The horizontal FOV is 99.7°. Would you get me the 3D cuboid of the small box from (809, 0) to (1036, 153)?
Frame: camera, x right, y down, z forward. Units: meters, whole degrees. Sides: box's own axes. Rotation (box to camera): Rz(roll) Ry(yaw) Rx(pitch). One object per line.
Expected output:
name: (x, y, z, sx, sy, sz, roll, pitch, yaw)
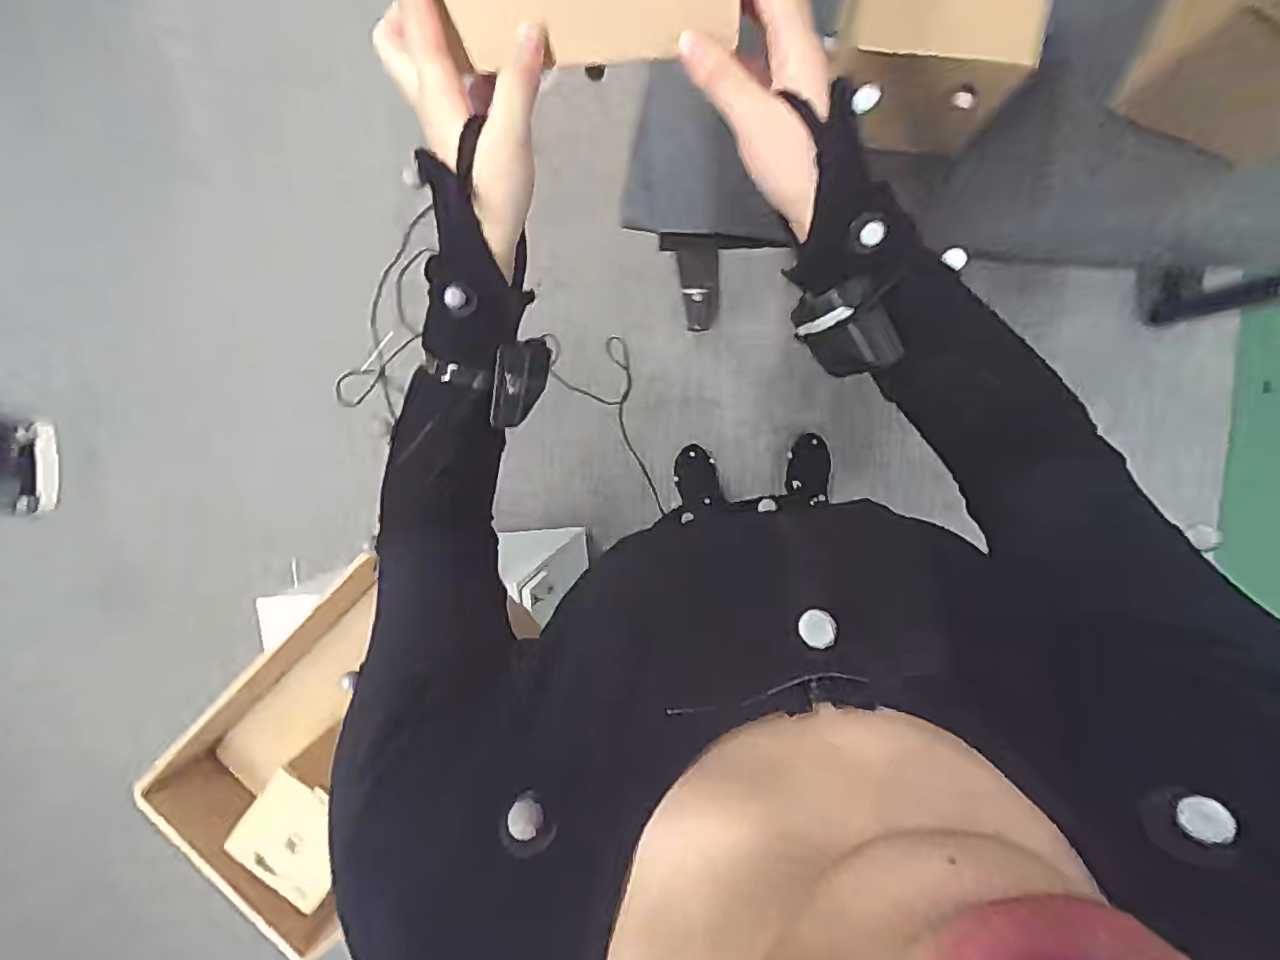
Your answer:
small box: (0.303, -0.492, 0.598, 0.179, 0.176, 0.168, 9, 95, 6)
